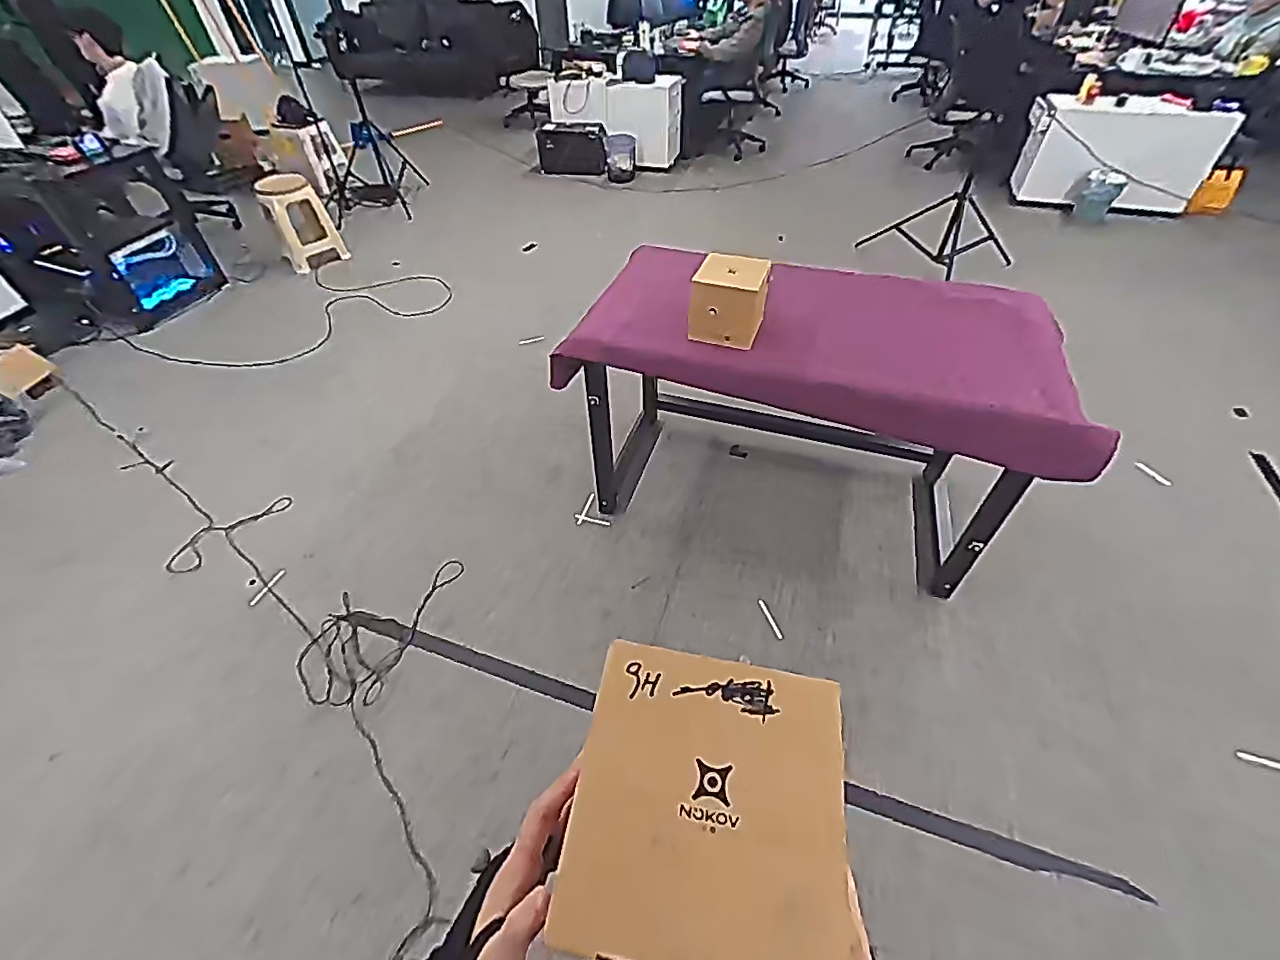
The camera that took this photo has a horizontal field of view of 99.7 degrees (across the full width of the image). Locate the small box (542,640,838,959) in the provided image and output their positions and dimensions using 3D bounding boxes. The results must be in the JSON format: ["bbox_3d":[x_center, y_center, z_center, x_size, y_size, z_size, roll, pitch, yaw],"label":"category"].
[{"bbox_3d":[0.040,0.246,0.404,0.168,0.176,0.179,10,54,5],"label":"small box"}]

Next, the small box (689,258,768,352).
[{"bbox_3d":[0.227,-0.455,1.410,0.168,0.176,0.179,14,47,14],"label":"small box"}]
